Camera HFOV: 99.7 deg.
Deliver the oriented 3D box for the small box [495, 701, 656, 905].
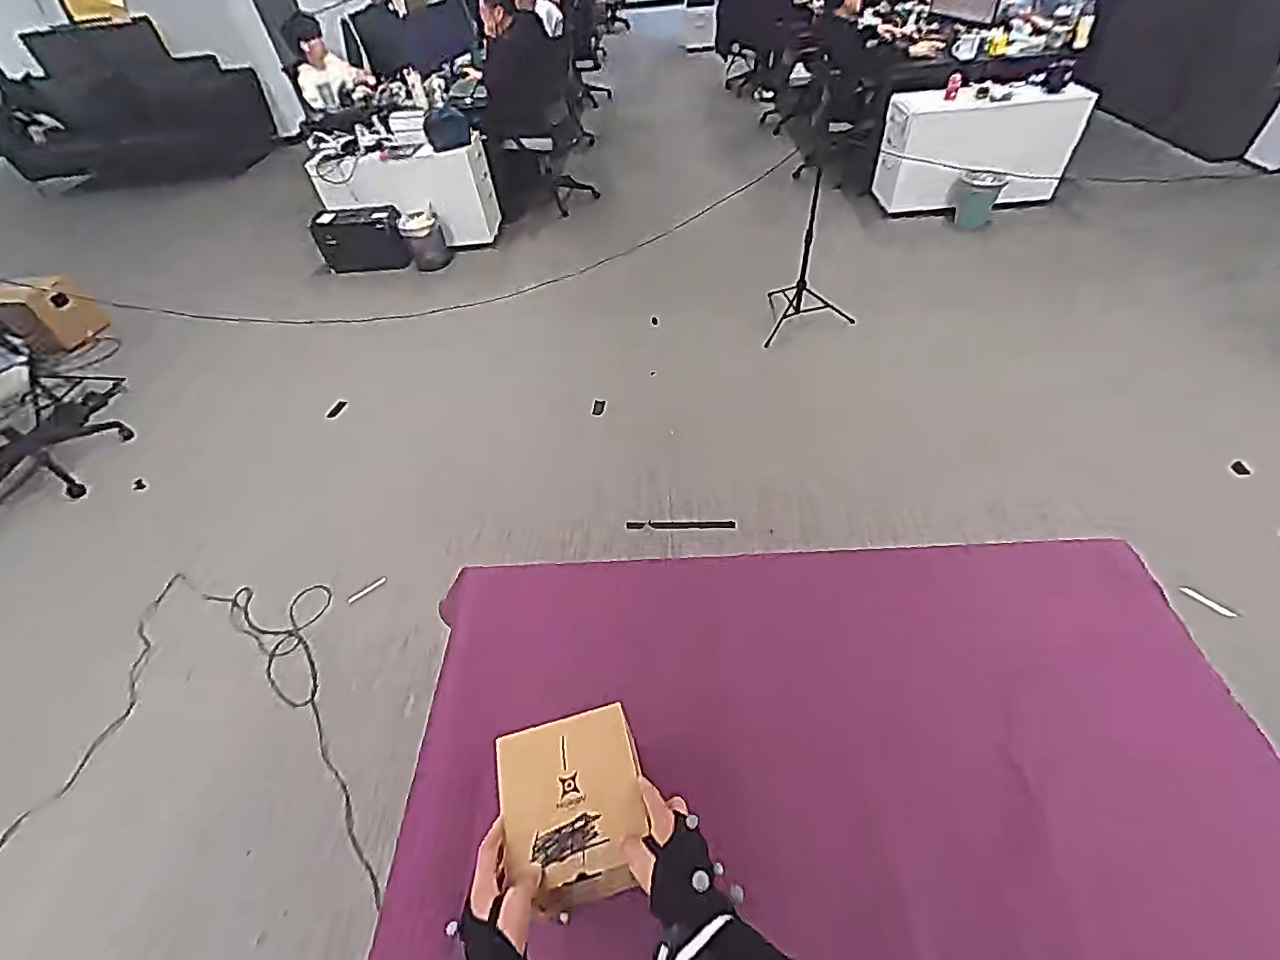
[{"bbox_3d":[-0.080,0.418,0.695,0.168,0.176,0.179,-13,47,-6],"label":"small box"}]
